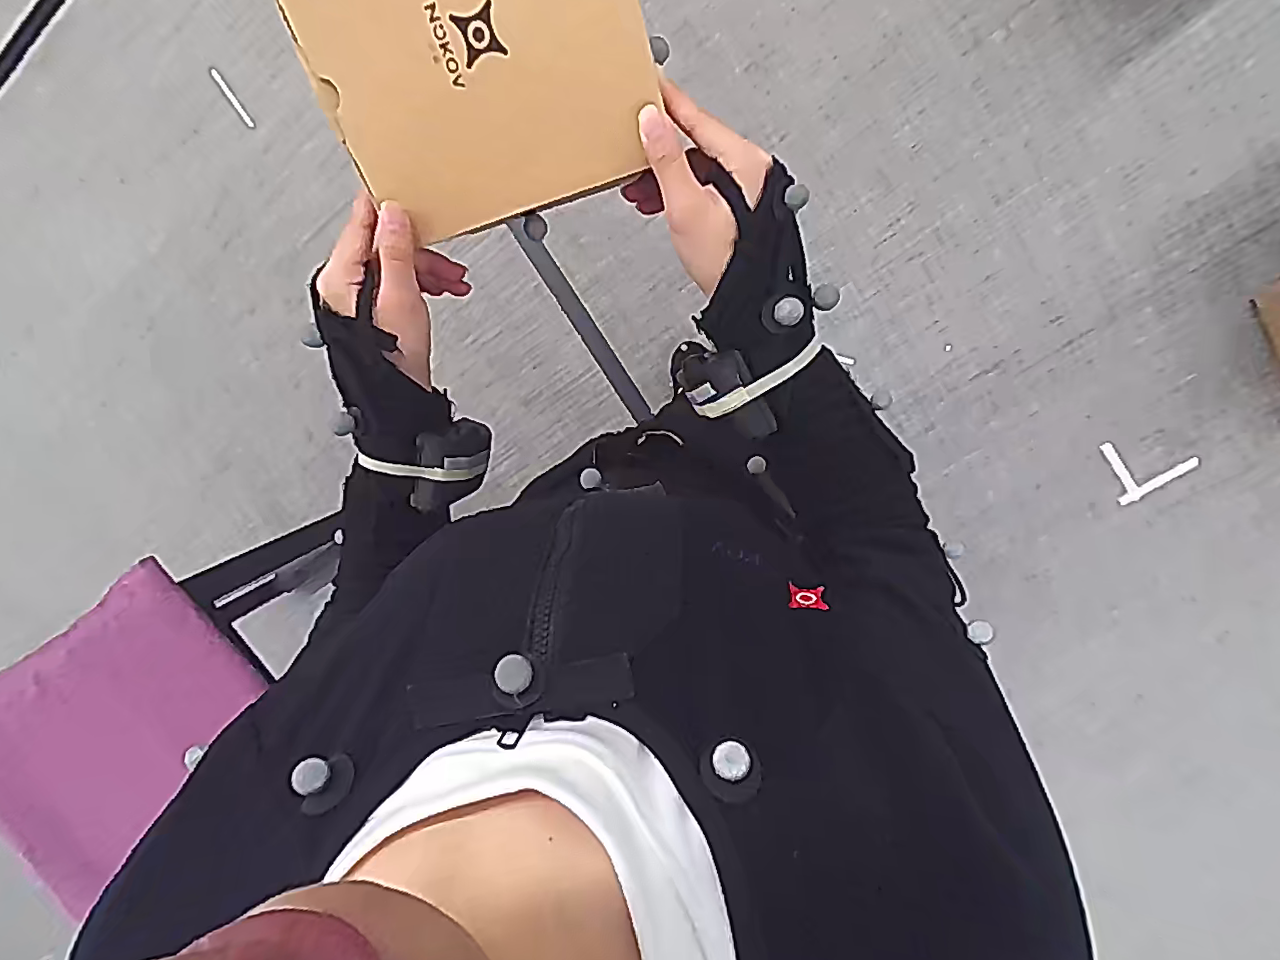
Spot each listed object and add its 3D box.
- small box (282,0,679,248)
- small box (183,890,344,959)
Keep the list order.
[{"bbox_3d":[-0.083,-0.266,0.343,0.179,0.176,0.168,-14,118,8],"label":"small box"},{"bbox_3d":[-0.592,0.766,0.803,0.179,0.176,0.168,-30,98,13],"label":"small box"}]
